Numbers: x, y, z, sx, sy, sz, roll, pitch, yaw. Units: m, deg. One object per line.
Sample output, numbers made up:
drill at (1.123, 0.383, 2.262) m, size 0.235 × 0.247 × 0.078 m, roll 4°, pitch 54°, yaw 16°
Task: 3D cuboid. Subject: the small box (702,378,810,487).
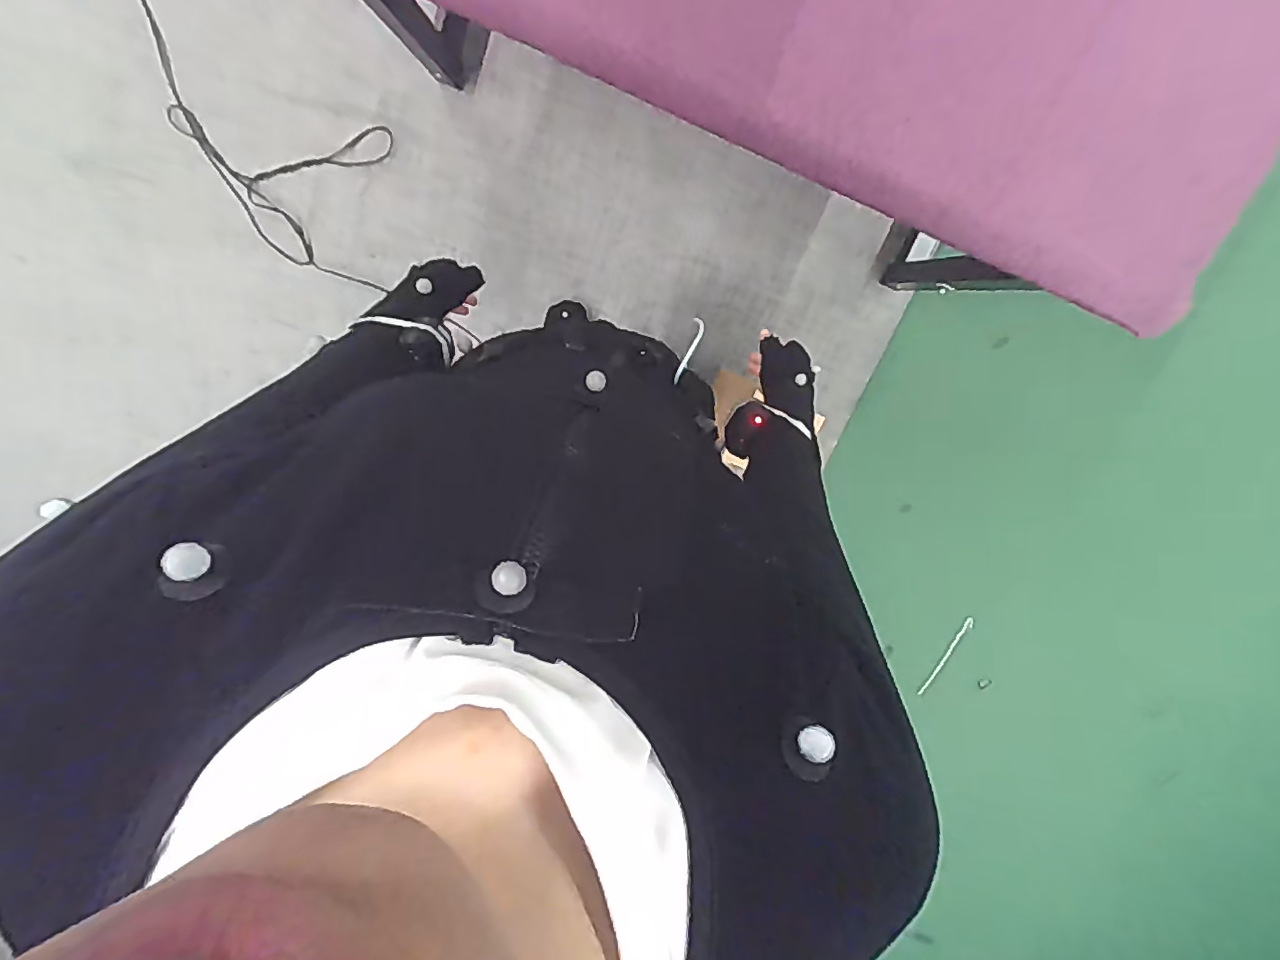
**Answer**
small box at (0.255, -0.115, 1.238) m, size 0.168 × 0.176 × 0.179 m, roll 23°, pitch 106°, yaw -10°
